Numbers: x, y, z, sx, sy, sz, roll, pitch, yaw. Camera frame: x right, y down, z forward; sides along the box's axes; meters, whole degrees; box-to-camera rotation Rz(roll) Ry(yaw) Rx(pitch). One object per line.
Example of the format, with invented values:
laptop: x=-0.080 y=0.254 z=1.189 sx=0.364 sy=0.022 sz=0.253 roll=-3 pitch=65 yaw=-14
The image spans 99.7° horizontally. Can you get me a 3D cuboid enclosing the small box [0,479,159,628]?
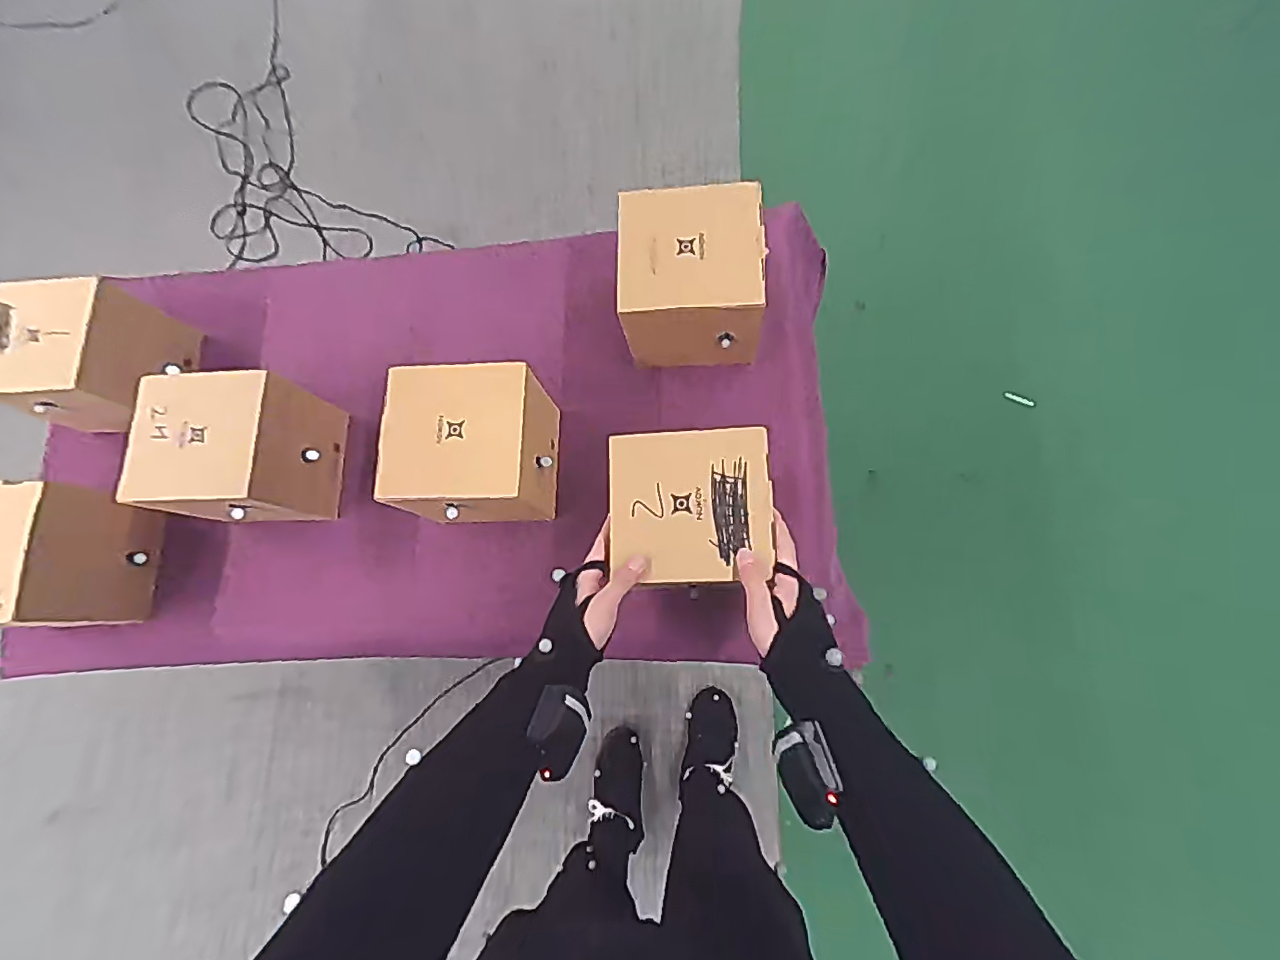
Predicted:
small box: x=-0.807 y=0.106 z=0.727 sx=0.168 sy=0.176 sz=0.179 roll=-3 pitch=76 yaw=6

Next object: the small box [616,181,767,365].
small box: x=0.068 y=-0.260 z=0.715 sx=0.179 sy=0.176 sz=0.168 roll=0 pitch=79 yaw=7

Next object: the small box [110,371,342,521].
small box: x=-0.539 y=-0.038 z=0.732 sx=0.179 sy=0.176 sz=0.168 roll=-1 pitch=77 yaw=6

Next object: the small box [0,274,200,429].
small box: x=-0.809 y=-0.177 z=0.792 sx=0.179 sy=0.176 sz=0.168 roll=-1 pitch=78 yaw=5

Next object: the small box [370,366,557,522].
small box: x=-0.212 y=-0.038 z=0.701 sx=0.179 sy=0.176 sz=0.168 roll=0 pitch=78 yaw=6
